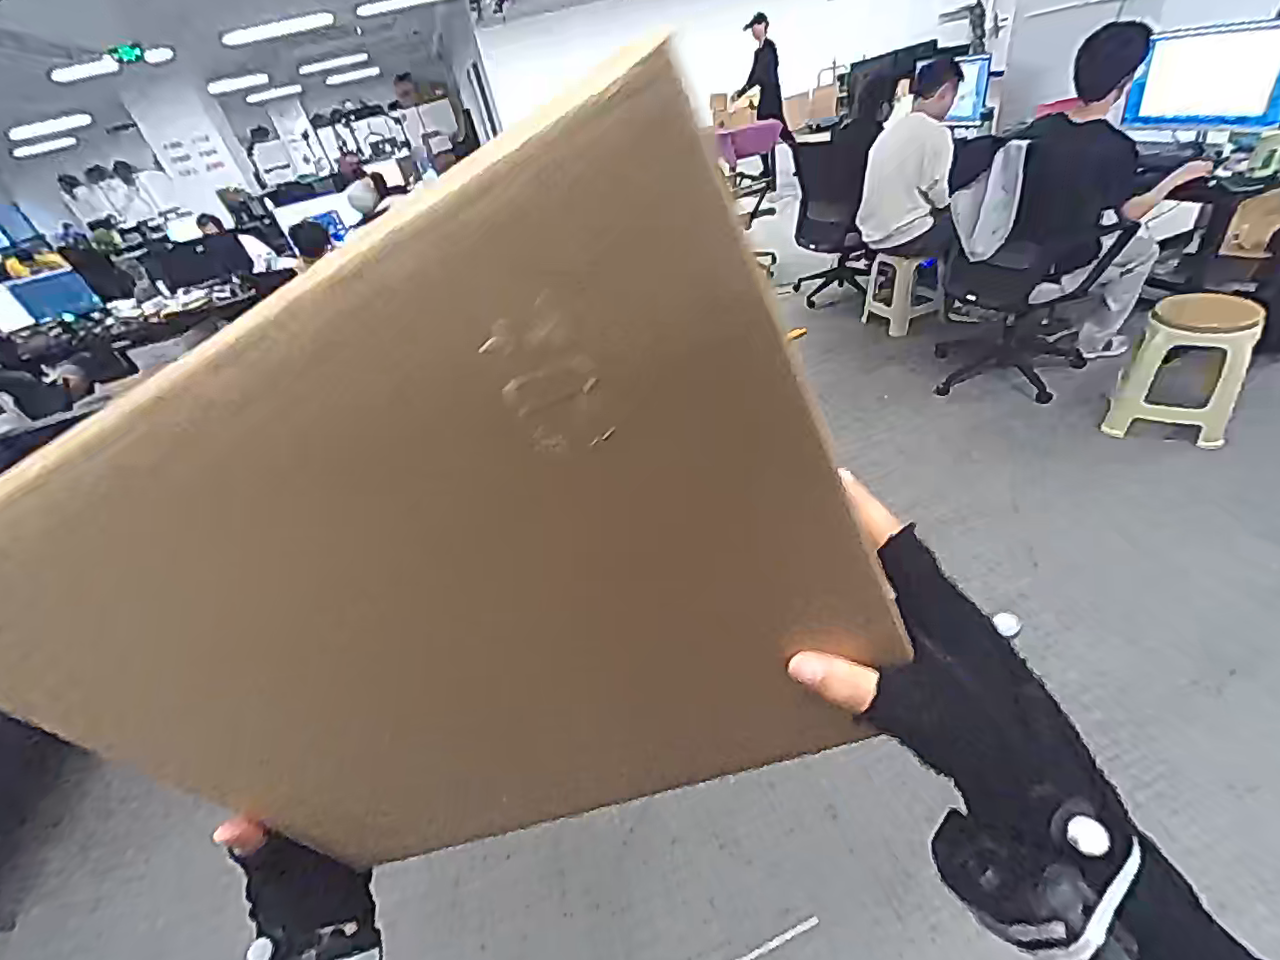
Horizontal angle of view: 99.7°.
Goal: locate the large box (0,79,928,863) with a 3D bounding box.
[{"bbox_3d":[-0.089,0.005,0.382,0.408,0.320,0.320,-24,33,15],"label":"large box"}]
